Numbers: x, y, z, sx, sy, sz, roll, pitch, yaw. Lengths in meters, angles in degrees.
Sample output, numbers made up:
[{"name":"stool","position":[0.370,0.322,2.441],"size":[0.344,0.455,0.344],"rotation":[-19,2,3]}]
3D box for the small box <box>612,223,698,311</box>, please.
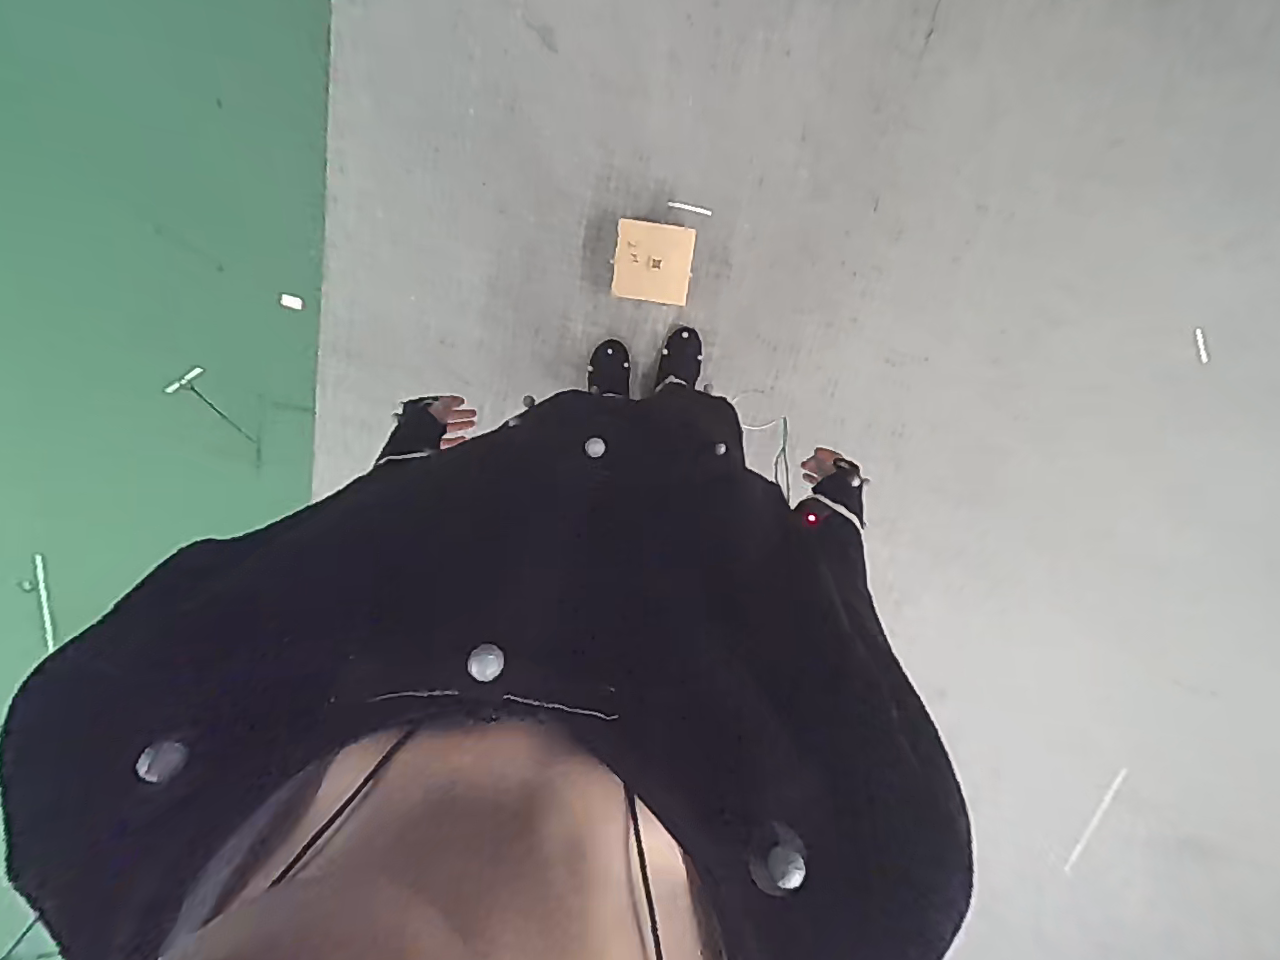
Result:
[{"name":"small box","position":[0.032,-0.504,1.299],"size":[0.179,0.176,0.168],"rotation":[8,106,-2]}]
